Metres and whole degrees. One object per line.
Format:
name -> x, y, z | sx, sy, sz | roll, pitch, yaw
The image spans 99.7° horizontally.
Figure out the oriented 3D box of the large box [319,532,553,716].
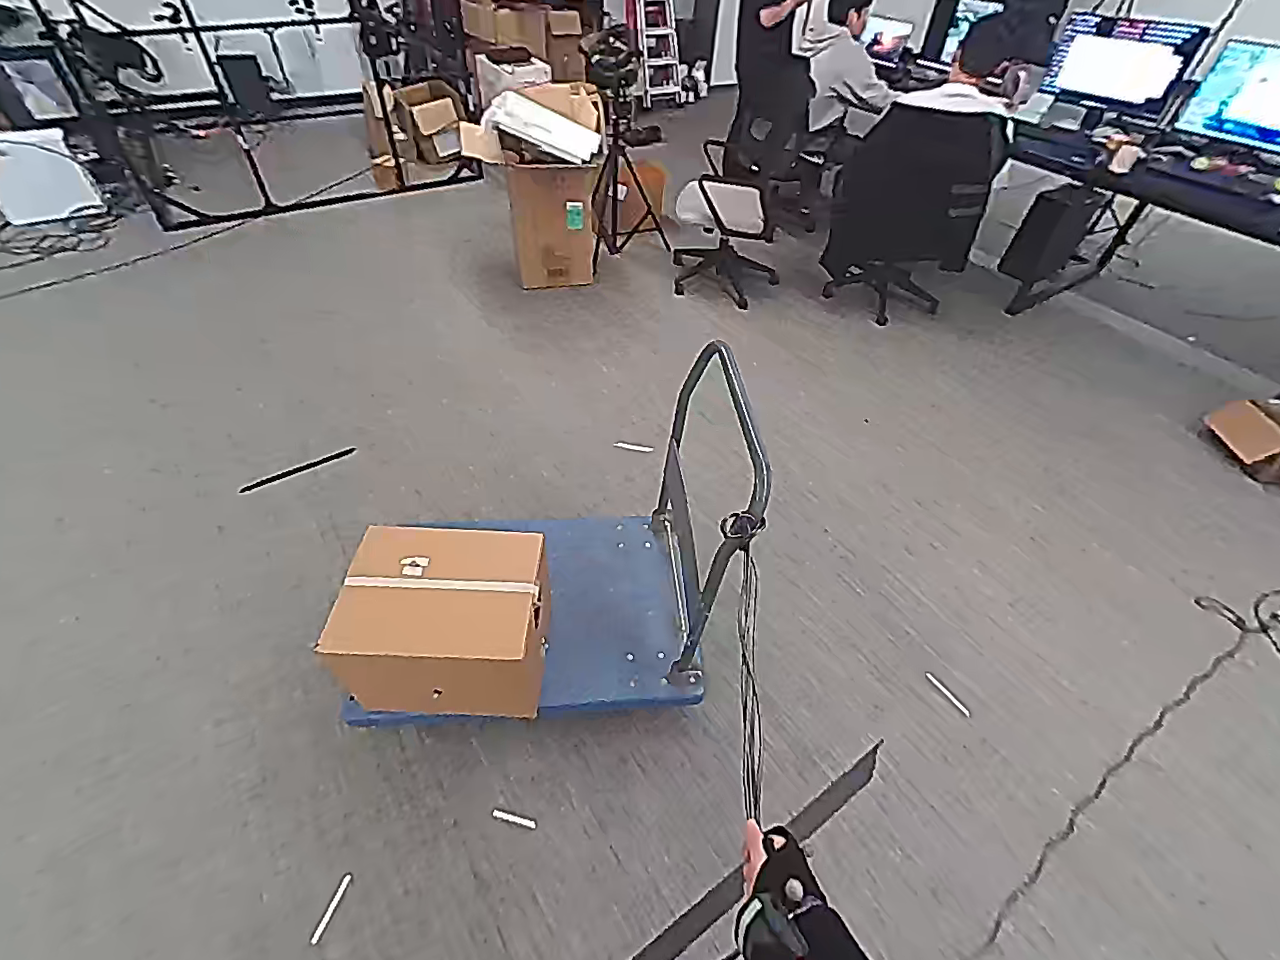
large box -> -0.424, 0.336, 1.250 | 0.408, 0.320, 0.320 | 2, 46, -1
